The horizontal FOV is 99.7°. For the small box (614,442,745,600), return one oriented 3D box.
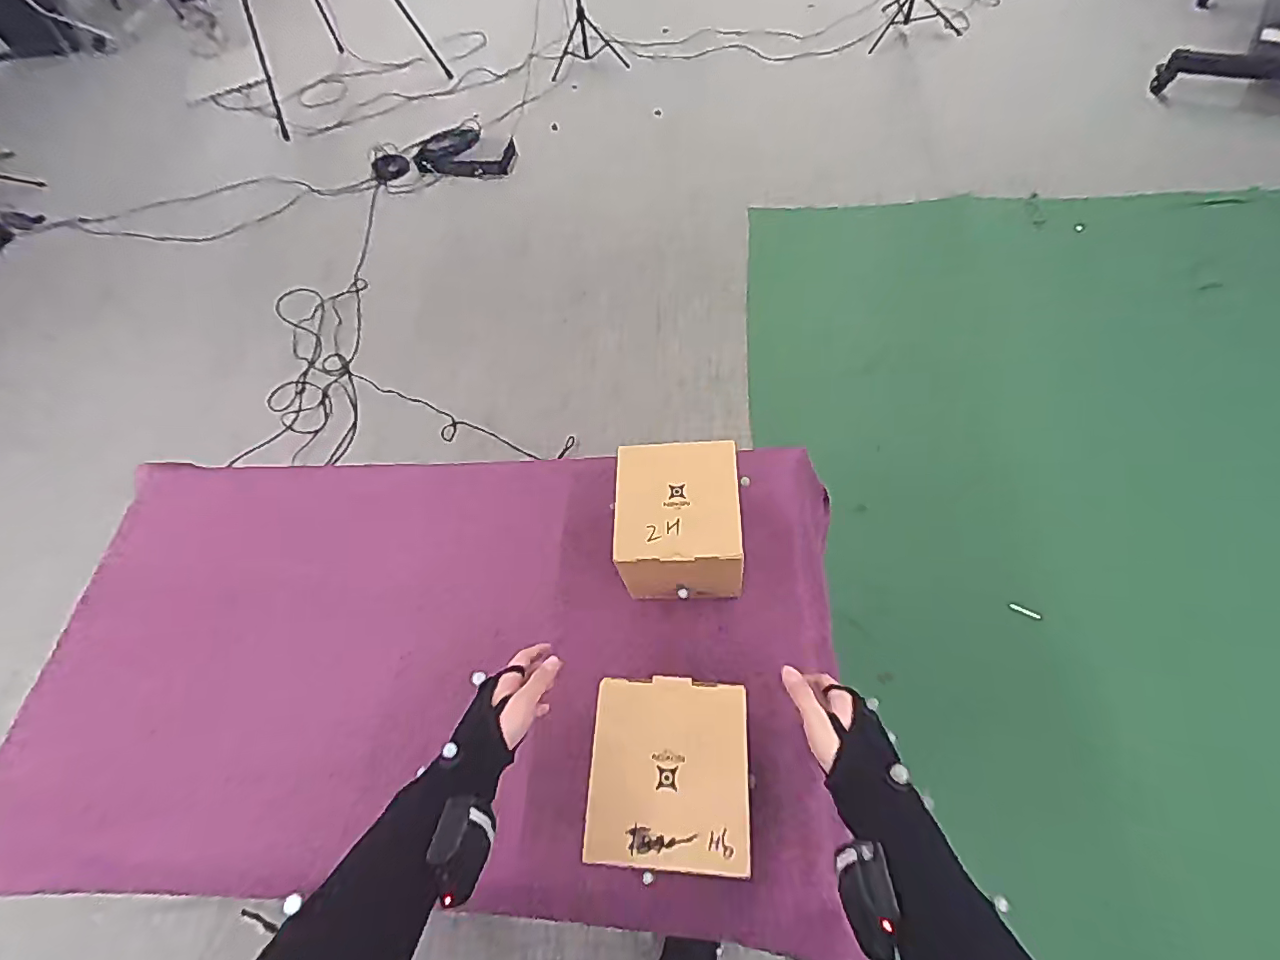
[{"bbox_3d":[0.061,0.063,0.784,0.168,0.176,0.179,-2,61,8],"label":"small box"}]

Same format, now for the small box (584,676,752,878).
[{"bbox_3d":[0.039,0.341,0.630,0.168,0.176,0.179,1,58,7],"label":"small box"}]
